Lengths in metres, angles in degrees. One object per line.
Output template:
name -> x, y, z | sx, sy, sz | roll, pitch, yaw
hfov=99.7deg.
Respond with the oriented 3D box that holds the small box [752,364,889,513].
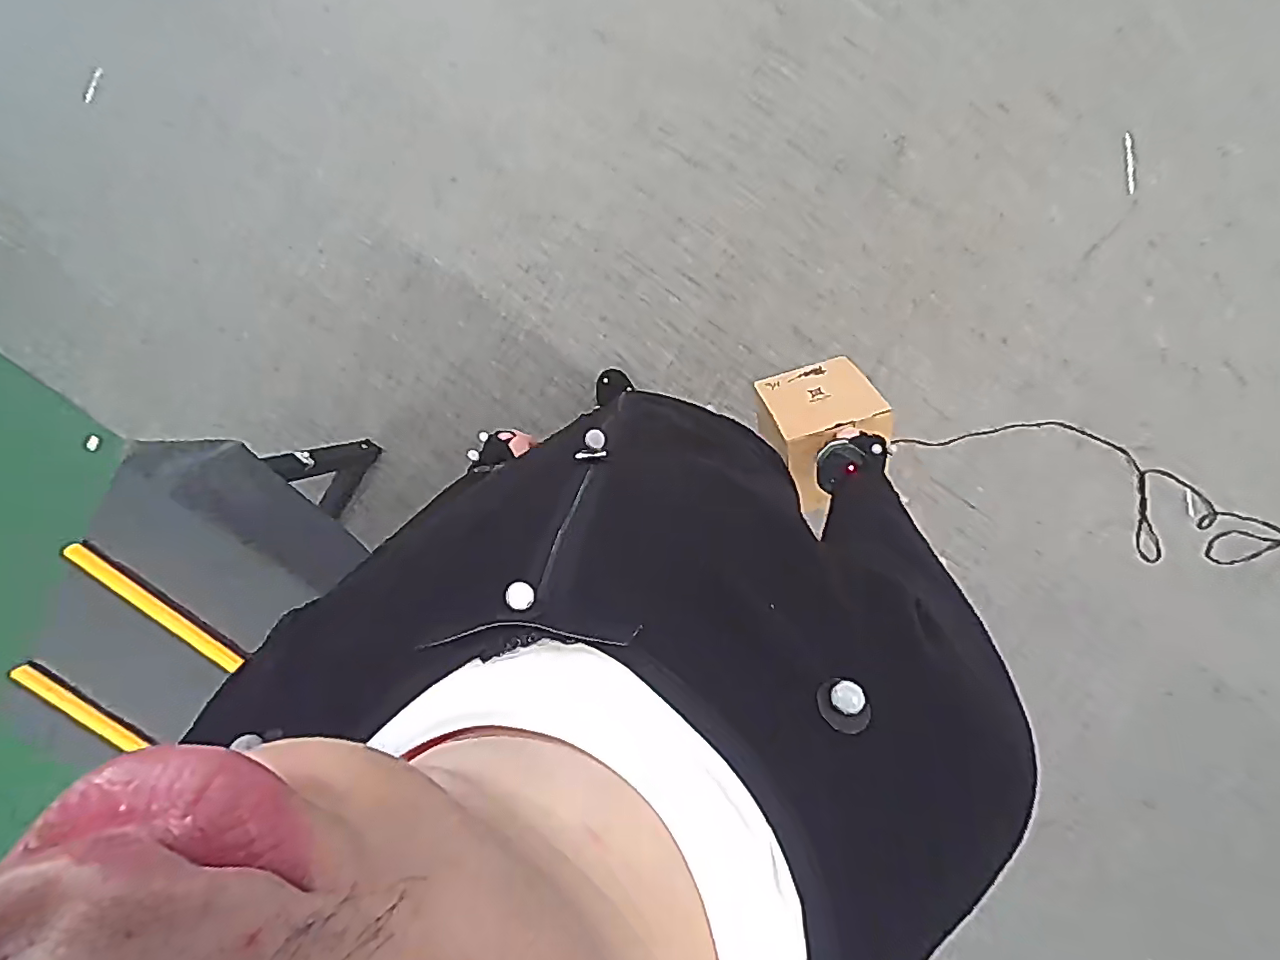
small box -> 0.309, -0.065, 0.929 | 0.168, 0.179, 0.176 | -19, 130, 3
